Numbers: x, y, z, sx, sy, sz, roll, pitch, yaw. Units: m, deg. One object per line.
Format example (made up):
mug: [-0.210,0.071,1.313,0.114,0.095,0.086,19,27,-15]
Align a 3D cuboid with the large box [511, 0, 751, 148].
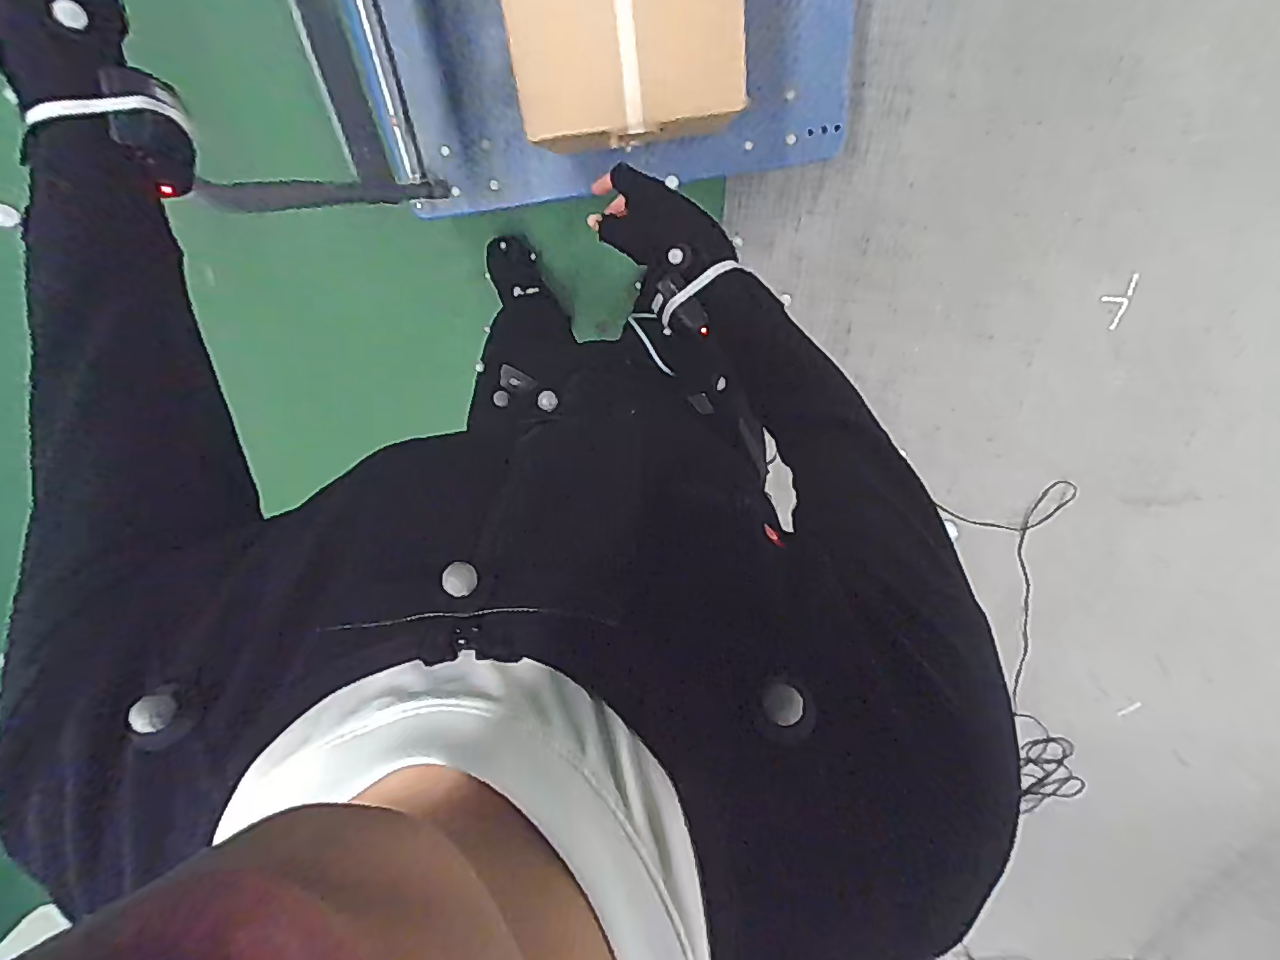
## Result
large box: [-0.017,-0.759,0.803,0.320,0.320,0.408,-5,117,5]
